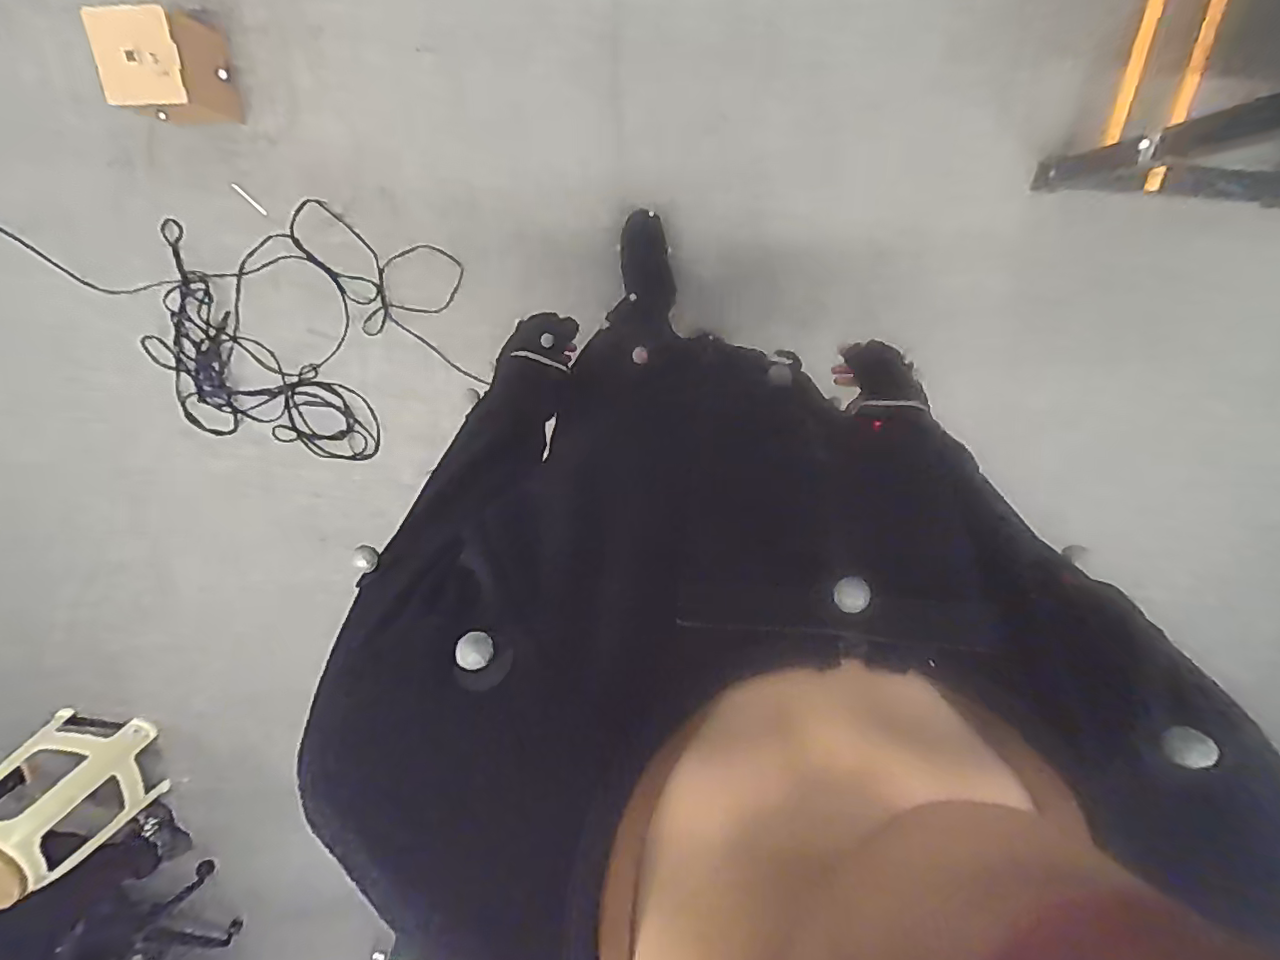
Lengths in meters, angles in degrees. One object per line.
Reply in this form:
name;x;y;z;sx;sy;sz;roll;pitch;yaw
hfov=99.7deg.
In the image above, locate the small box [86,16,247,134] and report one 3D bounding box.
small box;-1.005;-0.860;1.164;0.179;0.176;0.168;0;110;2
